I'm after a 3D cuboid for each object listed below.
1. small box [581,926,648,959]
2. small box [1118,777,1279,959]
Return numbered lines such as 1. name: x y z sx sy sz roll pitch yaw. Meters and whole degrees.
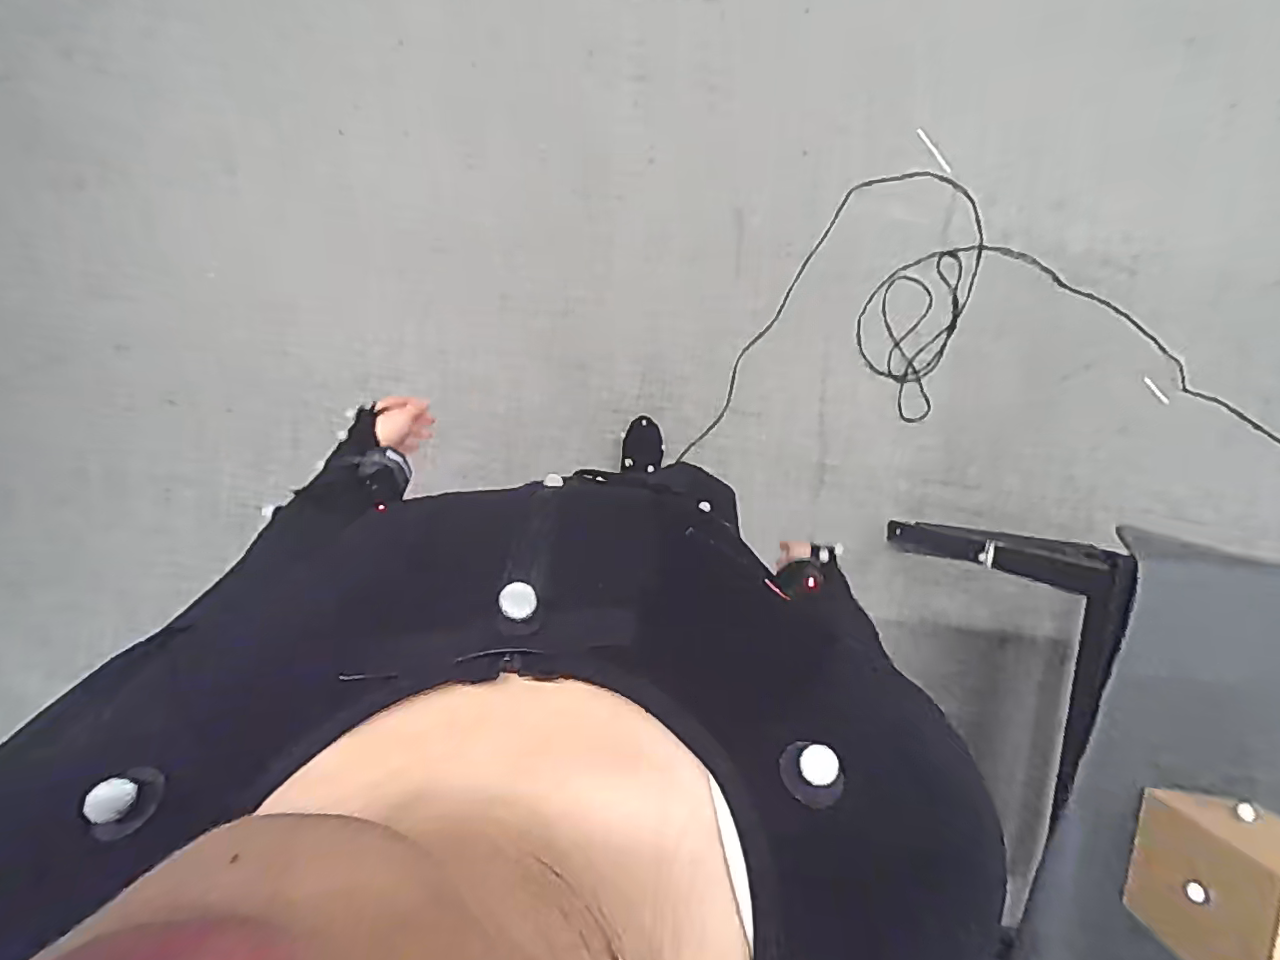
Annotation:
1. small box: -0.081 1.363 1.448 0.168 0.176 0.179 25 92 -1
2. small box: 0.768 0.521 0.689 0.168 0.176 0.179 9 92 -2
